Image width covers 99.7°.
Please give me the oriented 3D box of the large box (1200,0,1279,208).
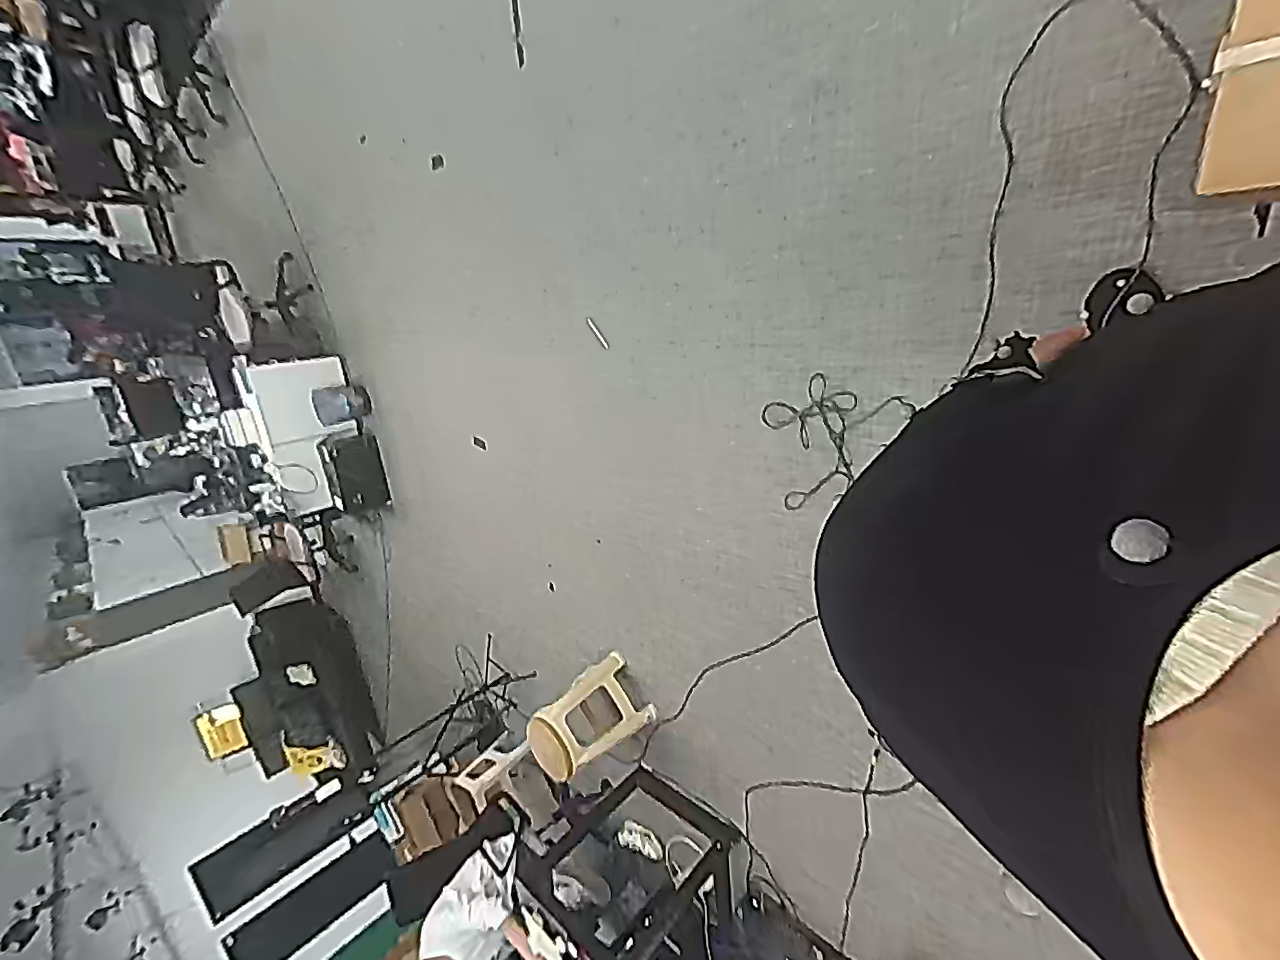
[{"bbox_3d":[0.963,-0.529,0.622,0.408,0.320,0.320,12,114,41],"label":"large box"}]
